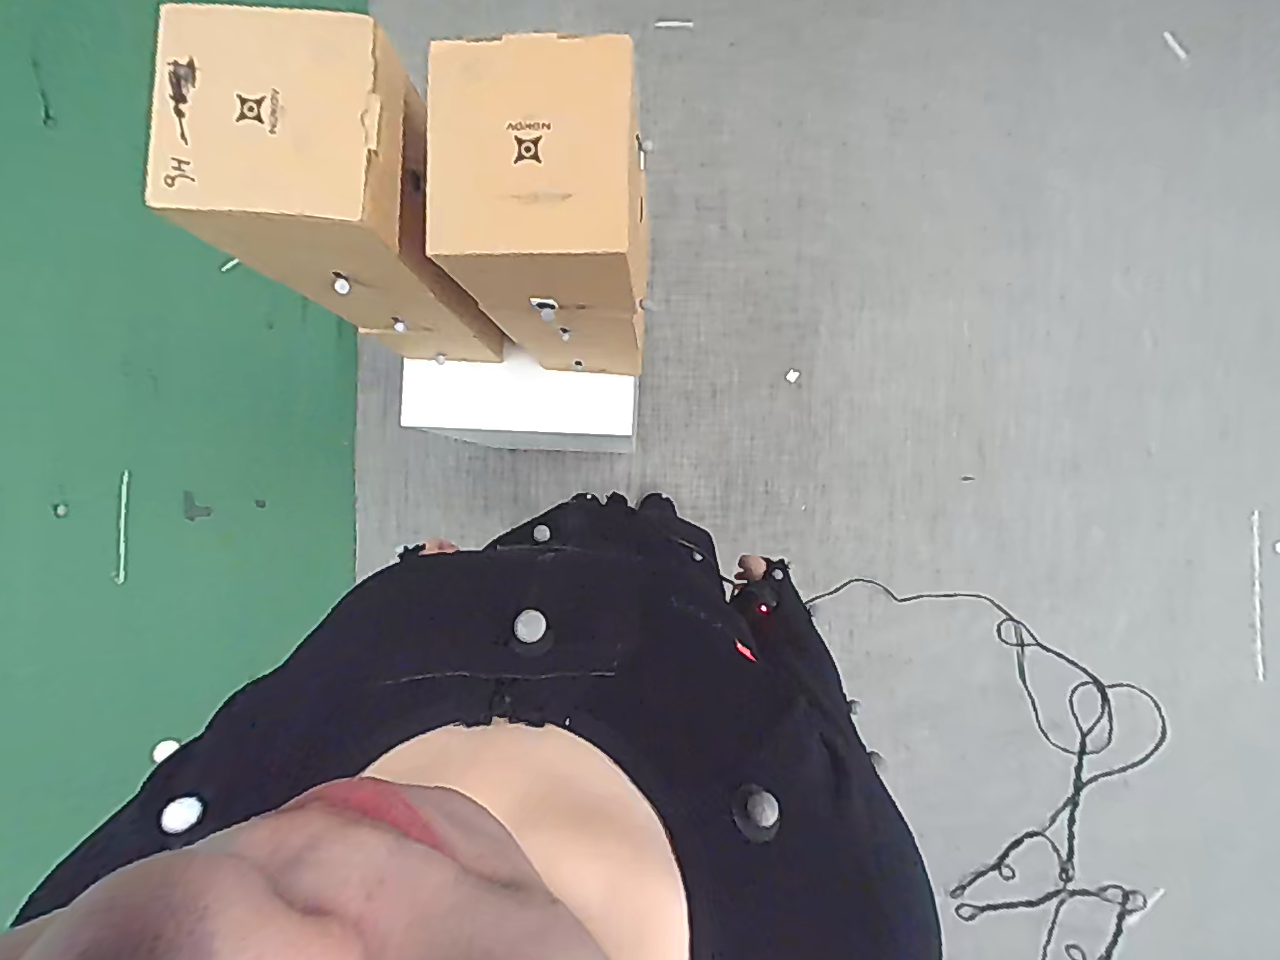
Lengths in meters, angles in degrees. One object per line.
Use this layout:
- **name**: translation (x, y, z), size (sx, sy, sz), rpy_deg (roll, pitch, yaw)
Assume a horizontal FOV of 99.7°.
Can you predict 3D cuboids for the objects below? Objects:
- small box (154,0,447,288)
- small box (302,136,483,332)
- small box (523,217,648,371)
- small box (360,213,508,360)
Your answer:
- **small box**: translation (-0.297, -0.294, 0.512), size (0.179, 0.176, 0.168), rpy_deg (4, 90, -1)
- **small box**: translation (-0.303, -0.301, 0.676), size (0.168, 0.176, 0.179), rpy_deg (4, 90, 0)
- **small box**: translation (-0.077, -0.278, 0.840), size (0.168, 0.176, 0.179), rpy_deg (4, 90, 1)
- **small box**: translation (-0.308, -0.296, 0.840), size (0.168, 0.176, 0.179), rpy_deg (3, 91, 0)
